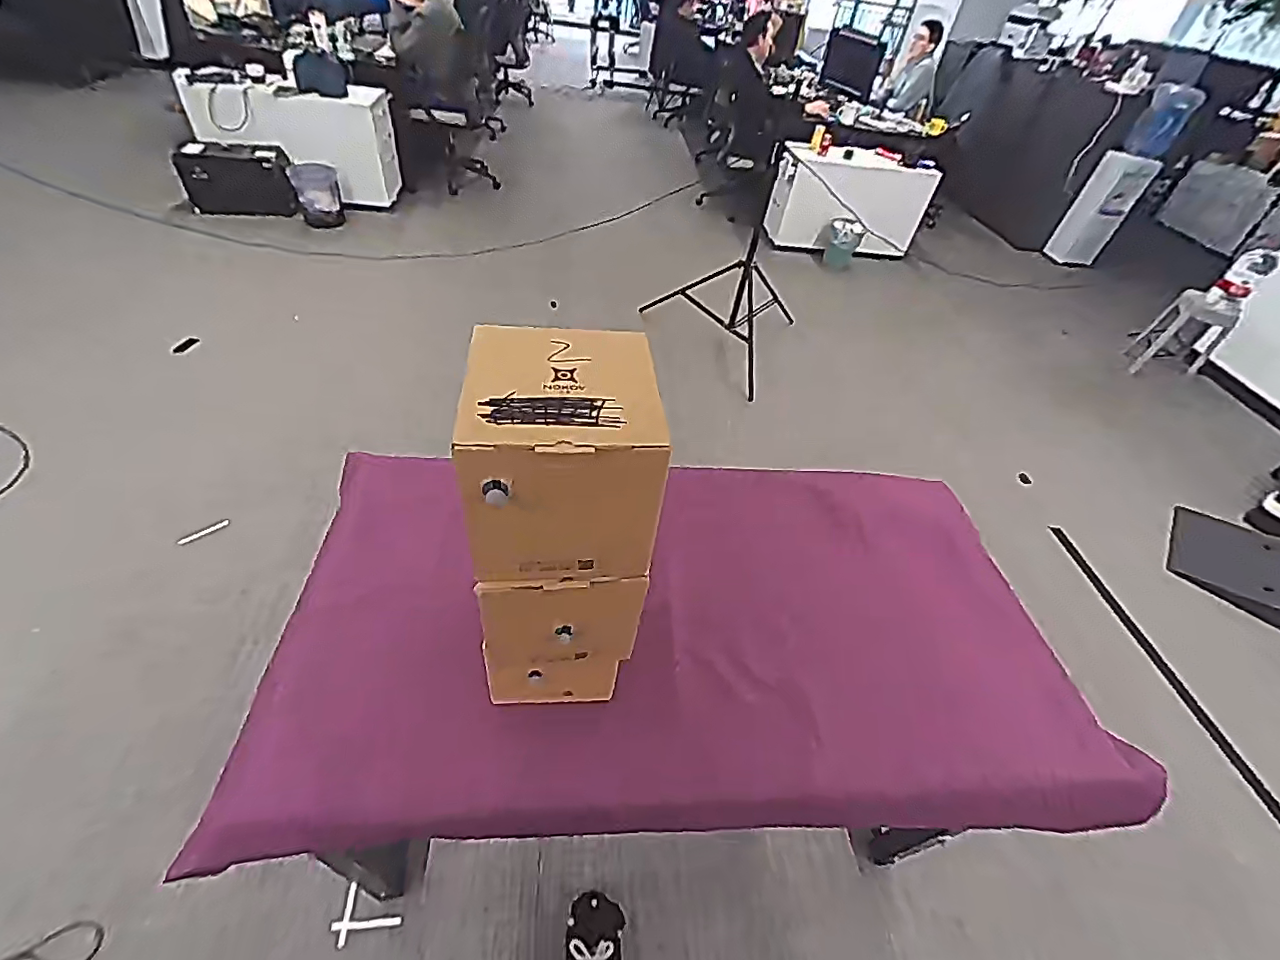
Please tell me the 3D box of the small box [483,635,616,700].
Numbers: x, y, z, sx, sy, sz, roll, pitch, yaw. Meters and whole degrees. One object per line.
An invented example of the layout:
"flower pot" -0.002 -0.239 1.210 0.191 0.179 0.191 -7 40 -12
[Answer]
"small box" -0.120 0.197 0.761 0.168 0.176 0.179 1 45 -8

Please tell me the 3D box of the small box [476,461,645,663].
"small box" -0.095 0.099 0.631 0.168 0.176 0.179 -2 47 -12
